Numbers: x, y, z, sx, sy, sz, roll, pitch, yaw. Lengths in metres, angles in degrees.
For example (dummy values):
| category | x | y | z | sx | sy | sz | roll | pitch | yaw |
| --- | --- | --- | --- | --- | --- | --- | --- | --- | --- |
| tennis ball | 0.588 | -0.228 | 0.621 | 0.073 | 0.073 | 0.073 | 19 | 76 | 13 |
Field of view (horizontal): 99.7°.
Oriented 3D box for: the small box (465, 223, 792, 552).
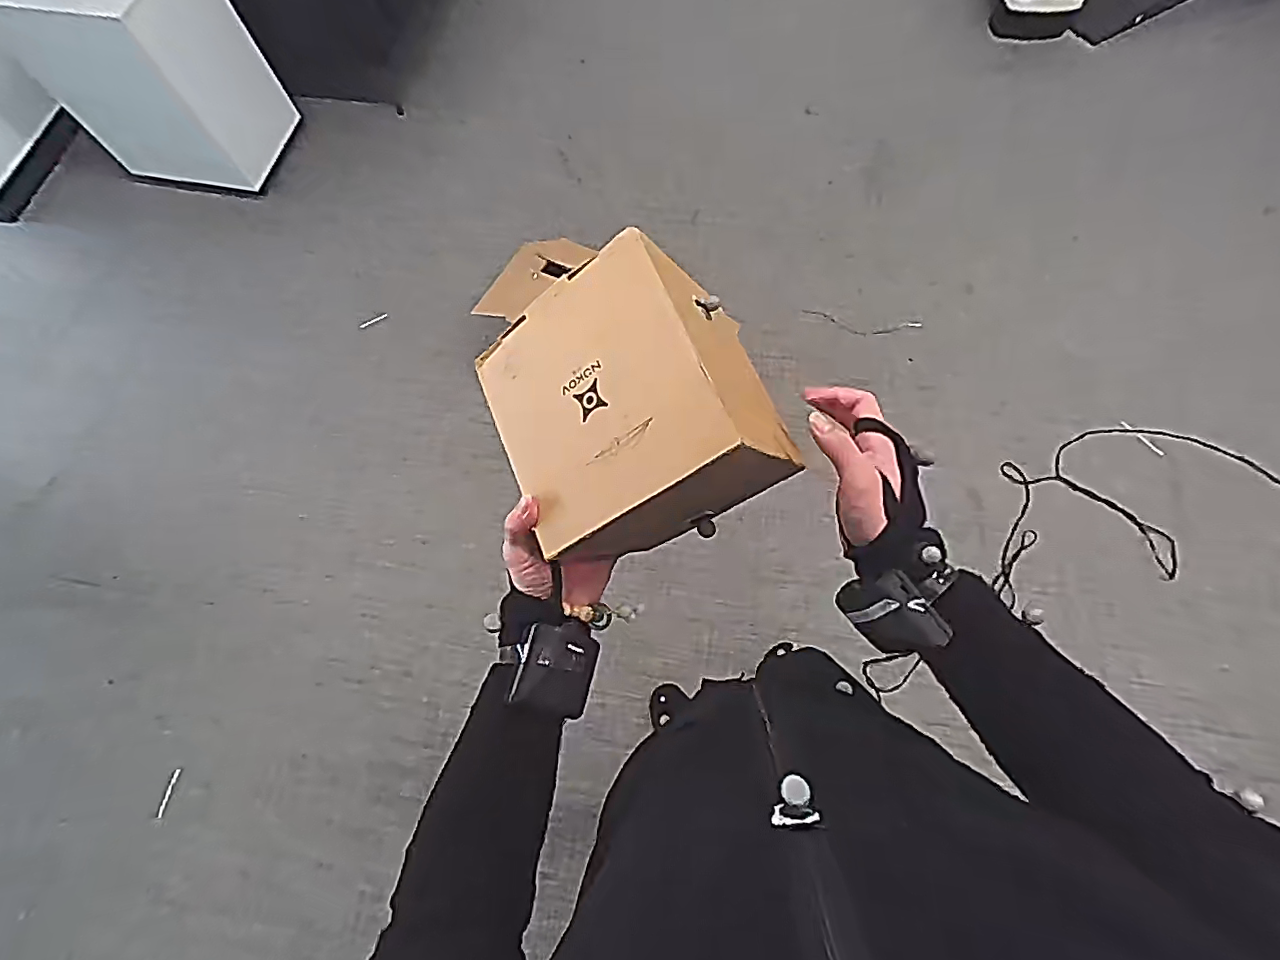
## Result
| category | x | y | z | sx | sy | sz | roll | pitch | yaw |
| --- | --- | --- | --- | --- | --- | --- | --- | --- | --- |
| small box | -0.004 | -0.052 | 0.431 | 0.168 | 0.176 | 0.179 | -29 | 71 | 26 |
